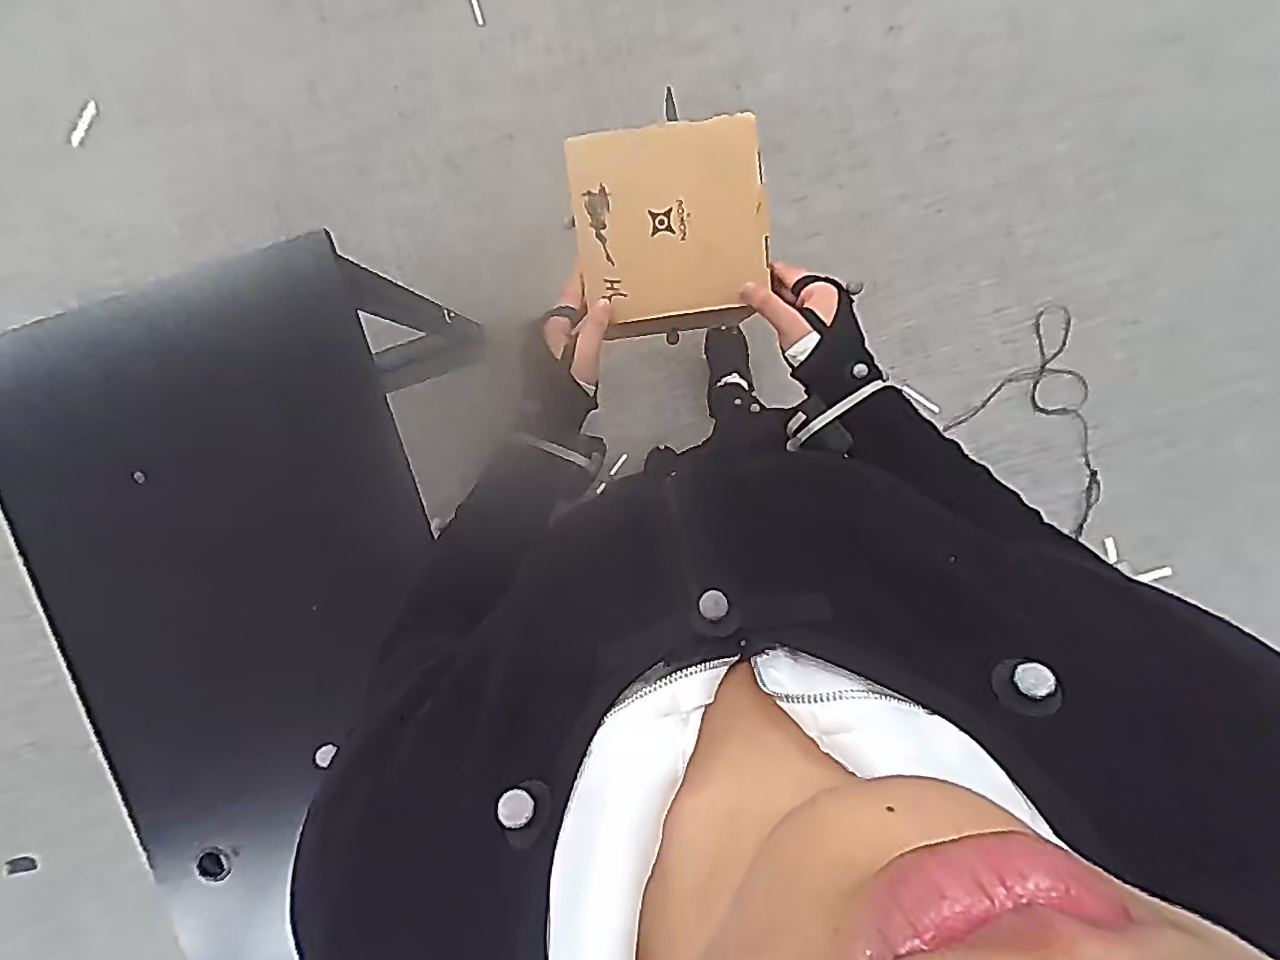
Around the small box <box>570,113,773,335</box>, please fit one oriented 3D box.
[{"bbox_3d":[0.027,-0.252,0.572,0.179,0.176,0.168,-7,100,-1],"label":"small box"}]
